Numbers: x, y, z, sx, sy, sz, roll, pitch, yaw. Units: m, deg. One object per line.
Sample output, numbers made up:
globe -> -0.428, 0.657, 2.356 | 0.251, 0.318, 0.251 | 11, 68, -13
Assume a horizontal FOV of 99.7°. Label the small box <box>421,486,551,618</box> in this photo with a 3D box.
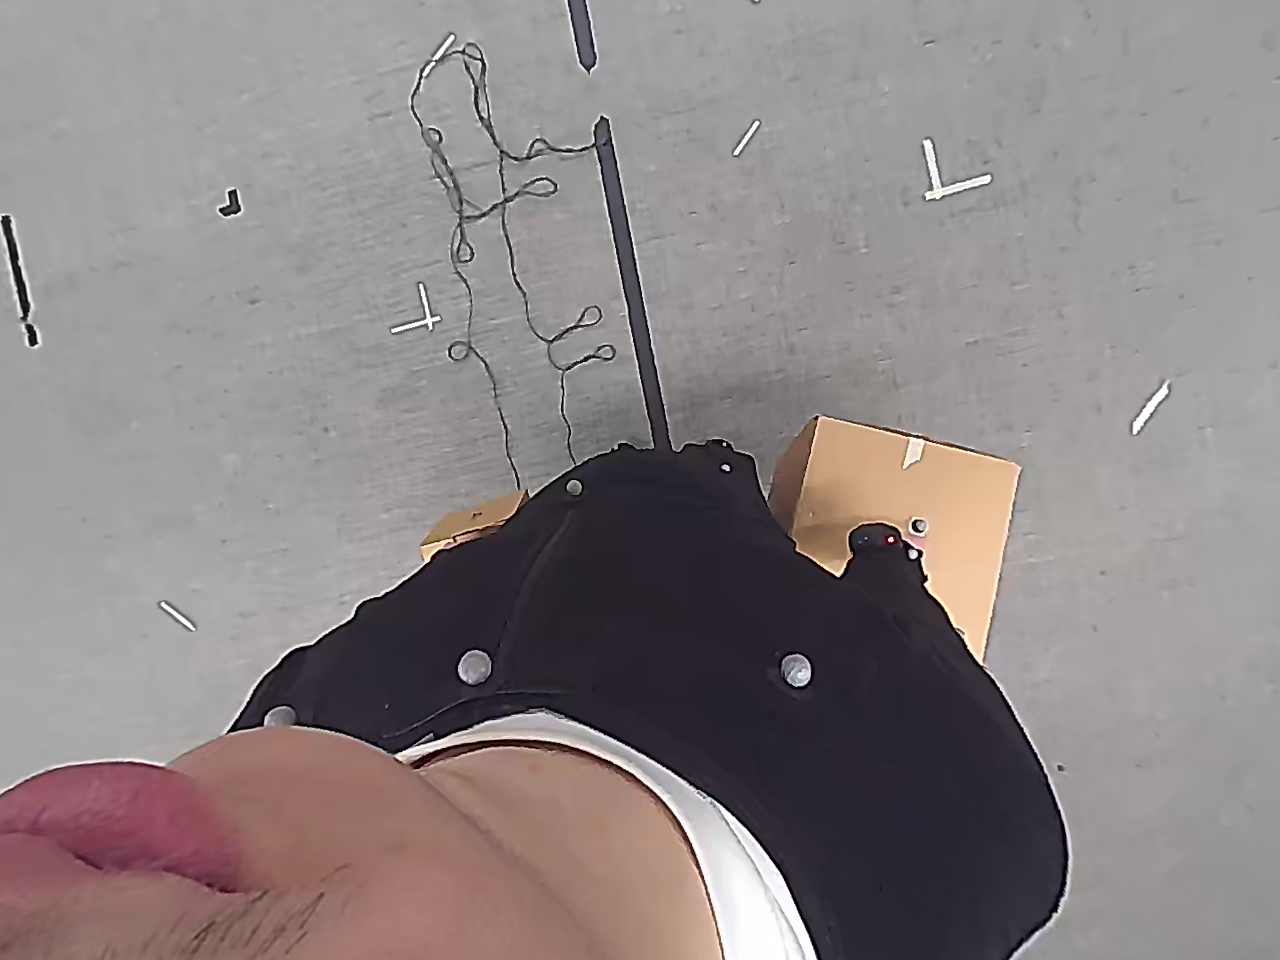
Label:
small box -> -0.272, 0.136, 0.999 | 0.168, 0.179, 0.176 | -16, 108, 0
